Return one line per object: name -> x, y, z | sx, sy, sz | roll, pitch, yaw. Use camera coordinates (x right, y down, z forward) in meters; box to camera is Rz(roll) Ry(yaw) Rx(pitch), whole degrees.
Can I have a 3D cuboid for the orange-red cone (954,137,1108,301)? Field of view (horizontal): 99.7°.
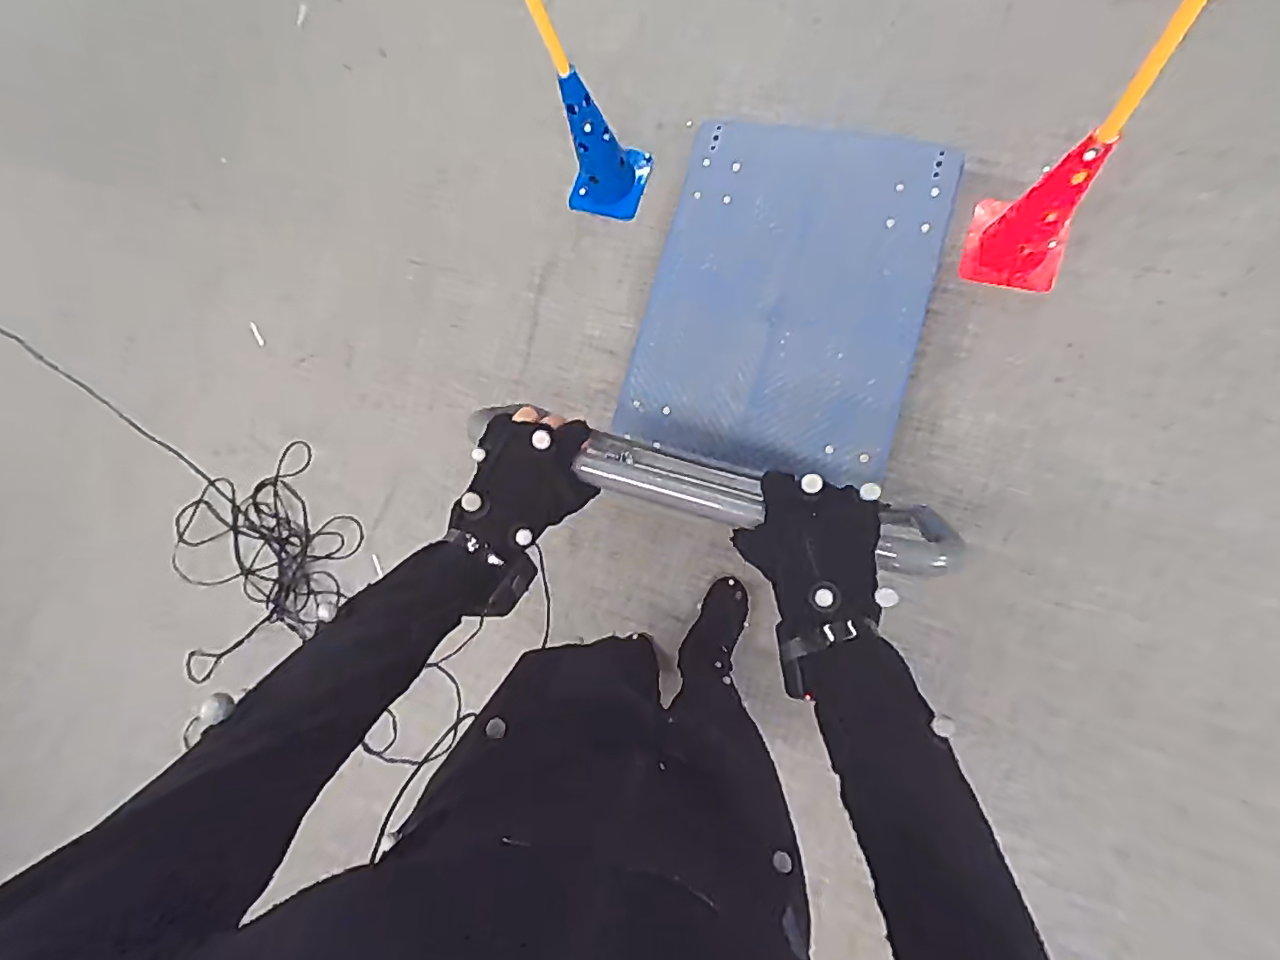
orange-red cone -> 0.818, -0.545, 1.093 | 0.199, 0.360, 0.198 | 18, 86, 15
